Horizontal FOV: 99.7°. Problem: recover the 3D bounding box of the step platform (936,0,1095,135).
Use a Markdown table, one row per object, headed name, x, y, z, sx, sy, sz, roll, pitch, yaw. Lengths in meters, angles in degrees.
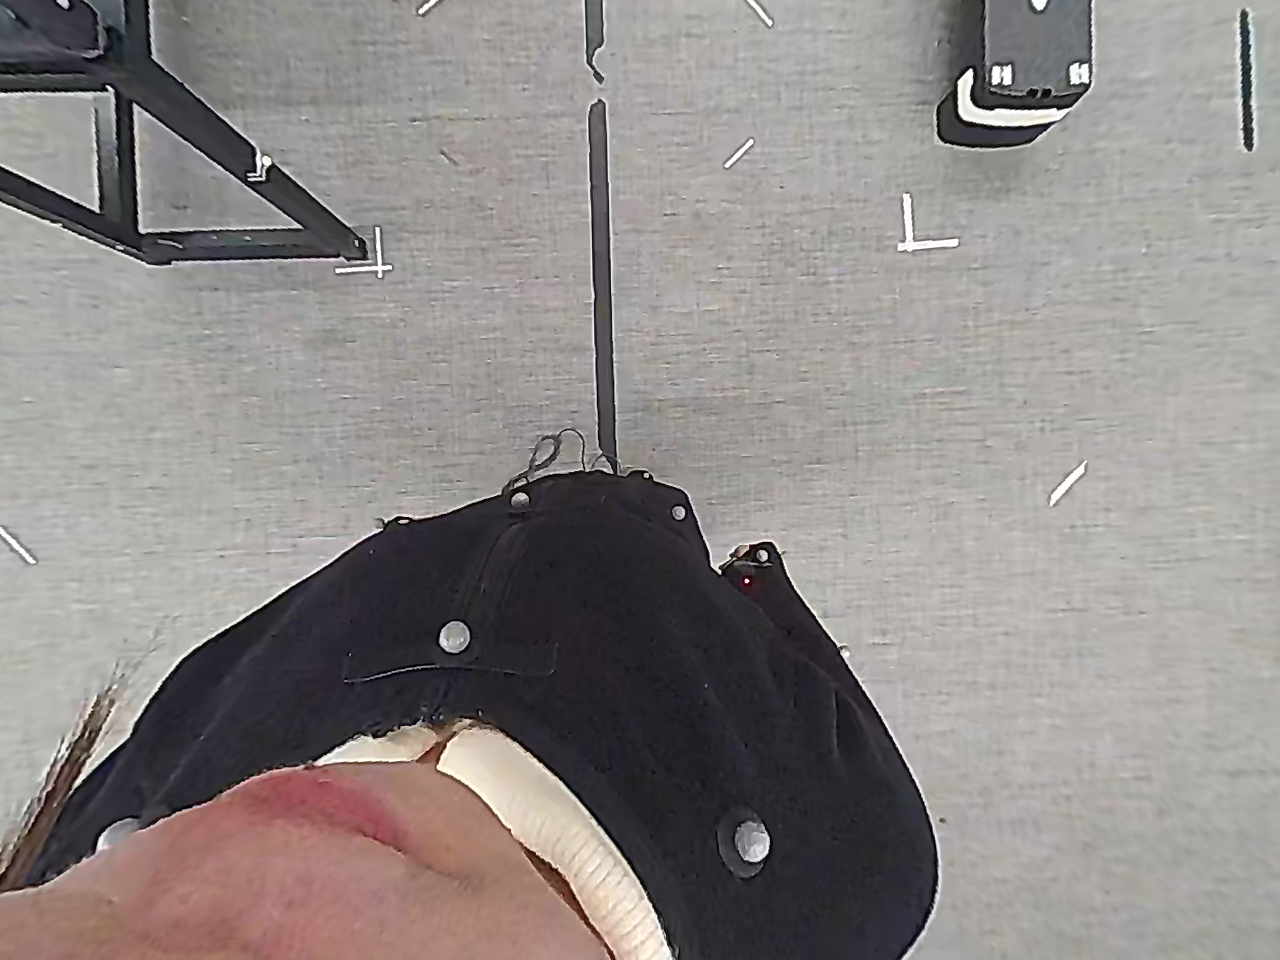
| name | x | y | z | sx | sy | sz | roll | pitch | yaw |
| --- | --- | --- | --- | --- | --- | --- | --- | --- | --- |
| step platform | 0.973 | -1.290 | 1.386 | 0.286 | 0.204 | 0.684 | 4 | 91 | -1 |
